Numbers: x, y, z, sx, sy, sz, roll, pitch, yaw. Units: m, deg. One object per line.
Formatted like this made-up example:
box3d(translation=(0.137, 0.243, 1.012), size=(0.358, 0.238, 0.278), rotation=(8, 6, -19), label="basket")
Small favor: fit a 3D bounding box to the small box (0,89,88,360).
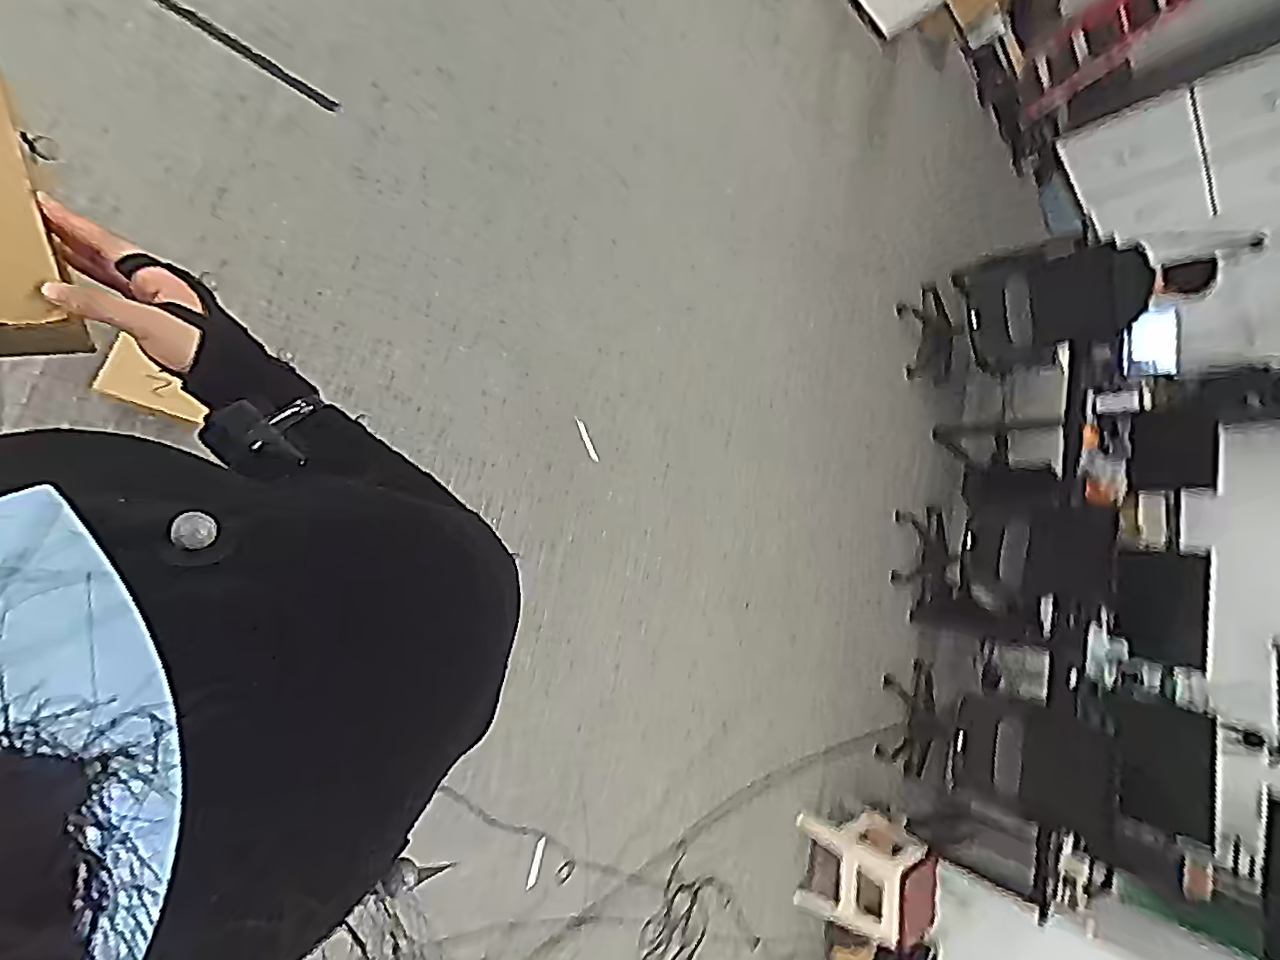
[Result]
box3d(translation=(-0.511, -0.175, 0.358), size=(0.168, 0.176, 0.179), rotation=(-17, 104, -39), label="small box")
